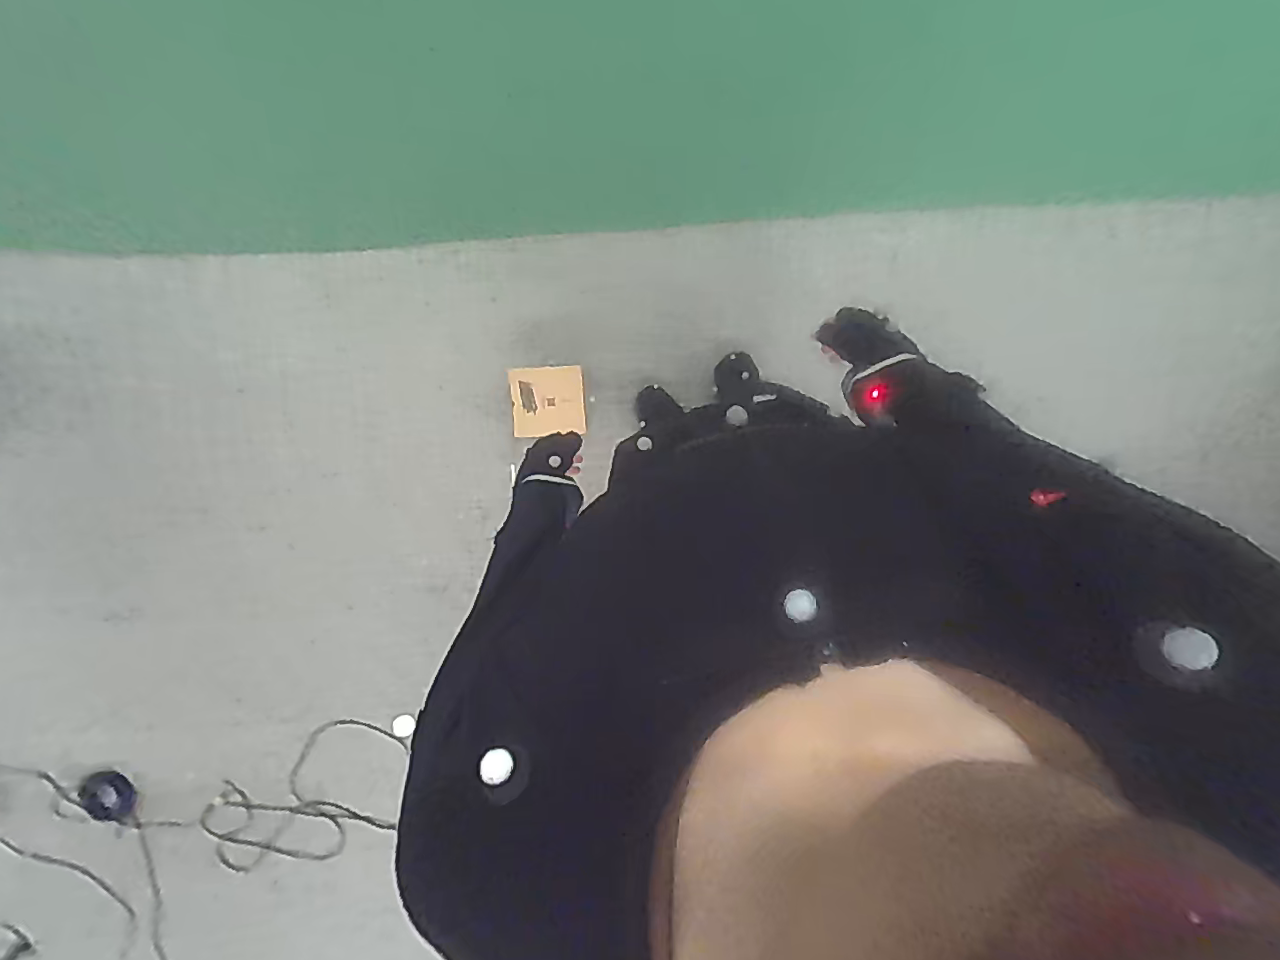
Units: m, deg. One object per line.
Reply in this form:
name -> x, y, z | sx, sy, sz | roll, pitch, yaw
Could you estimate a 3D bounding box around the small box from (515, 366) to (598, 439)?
small box -> -0.203, -0.196, 1.358 | 0.179, 0.176, 0.168 | -4, 102, 0
